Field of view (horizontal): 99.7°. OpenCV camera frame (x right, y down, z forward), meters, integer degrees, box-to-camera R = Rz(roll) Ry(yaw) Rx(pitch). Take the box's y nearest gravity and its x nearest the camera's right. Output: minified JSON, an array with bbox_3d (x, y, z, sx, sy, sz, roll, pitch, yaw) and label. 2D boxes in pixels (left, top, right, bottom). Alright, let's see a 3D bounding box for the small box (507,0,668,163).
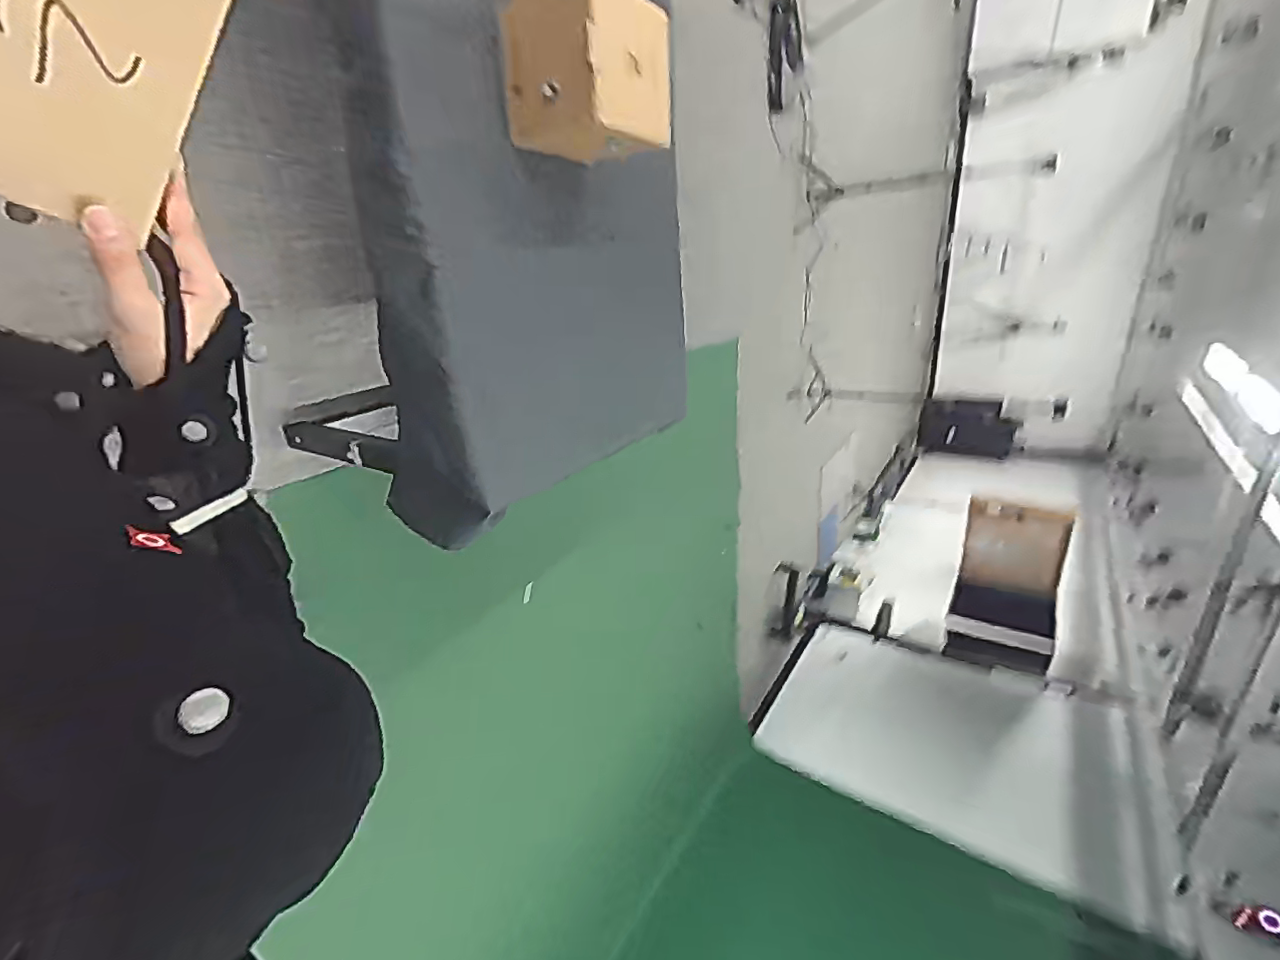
[{"bbox_3d":[-0.076,-0.570,0.779,0.179,0.176,0.168,-28,123,-51],"label":"small box"}]
